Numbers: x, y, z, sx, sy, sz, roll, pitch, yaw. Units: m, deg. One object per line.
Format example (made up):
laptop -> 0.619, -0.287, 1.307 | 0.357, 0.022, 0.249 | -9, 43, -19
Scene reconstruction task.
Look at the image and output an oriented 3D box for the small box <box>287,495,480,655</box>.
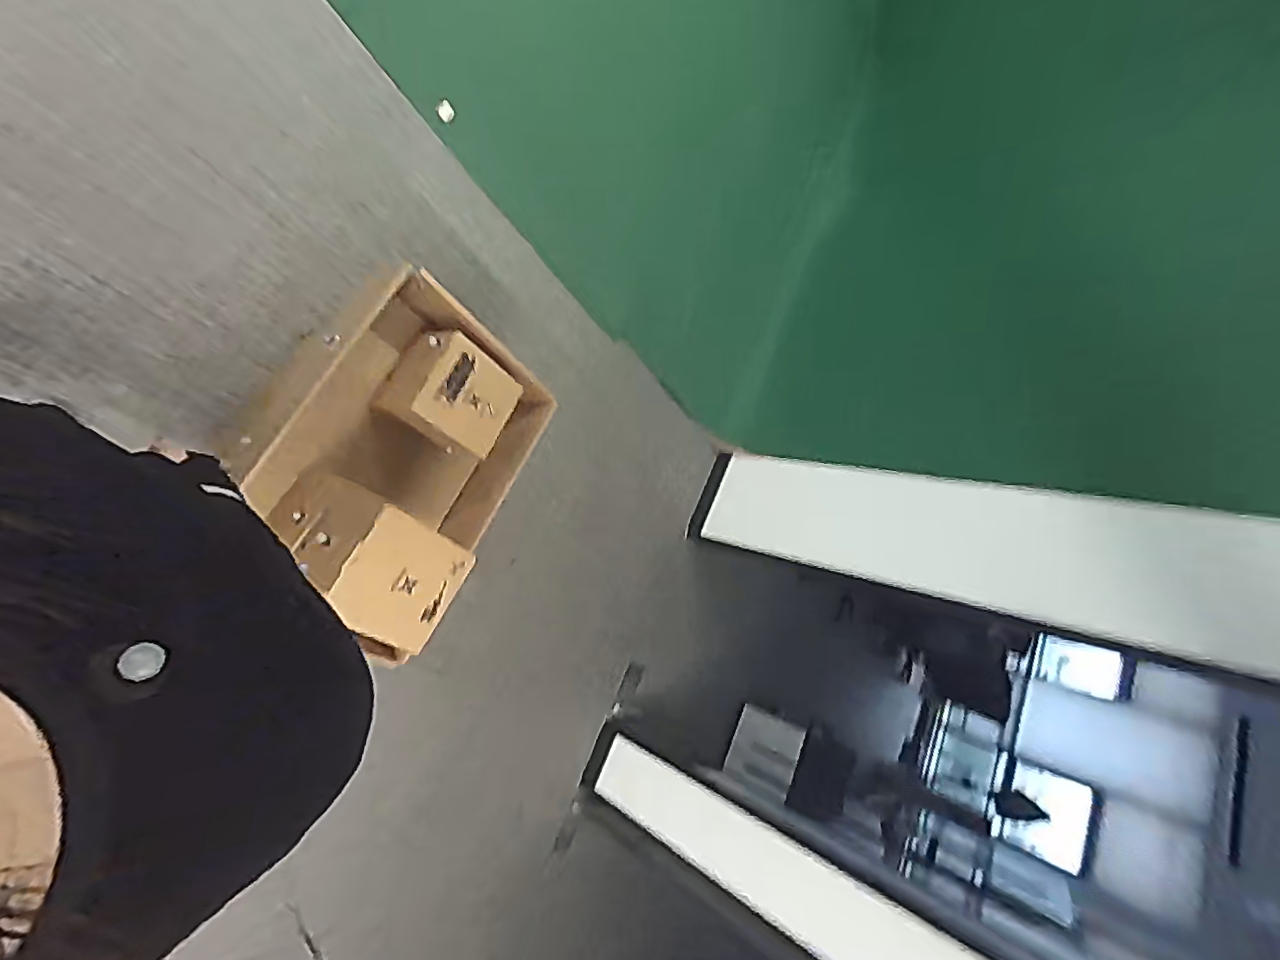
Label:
small box -> -0.389, 0.136, 0.820 | 0.179, 0.176, 0.168 | 46, 65, -42
